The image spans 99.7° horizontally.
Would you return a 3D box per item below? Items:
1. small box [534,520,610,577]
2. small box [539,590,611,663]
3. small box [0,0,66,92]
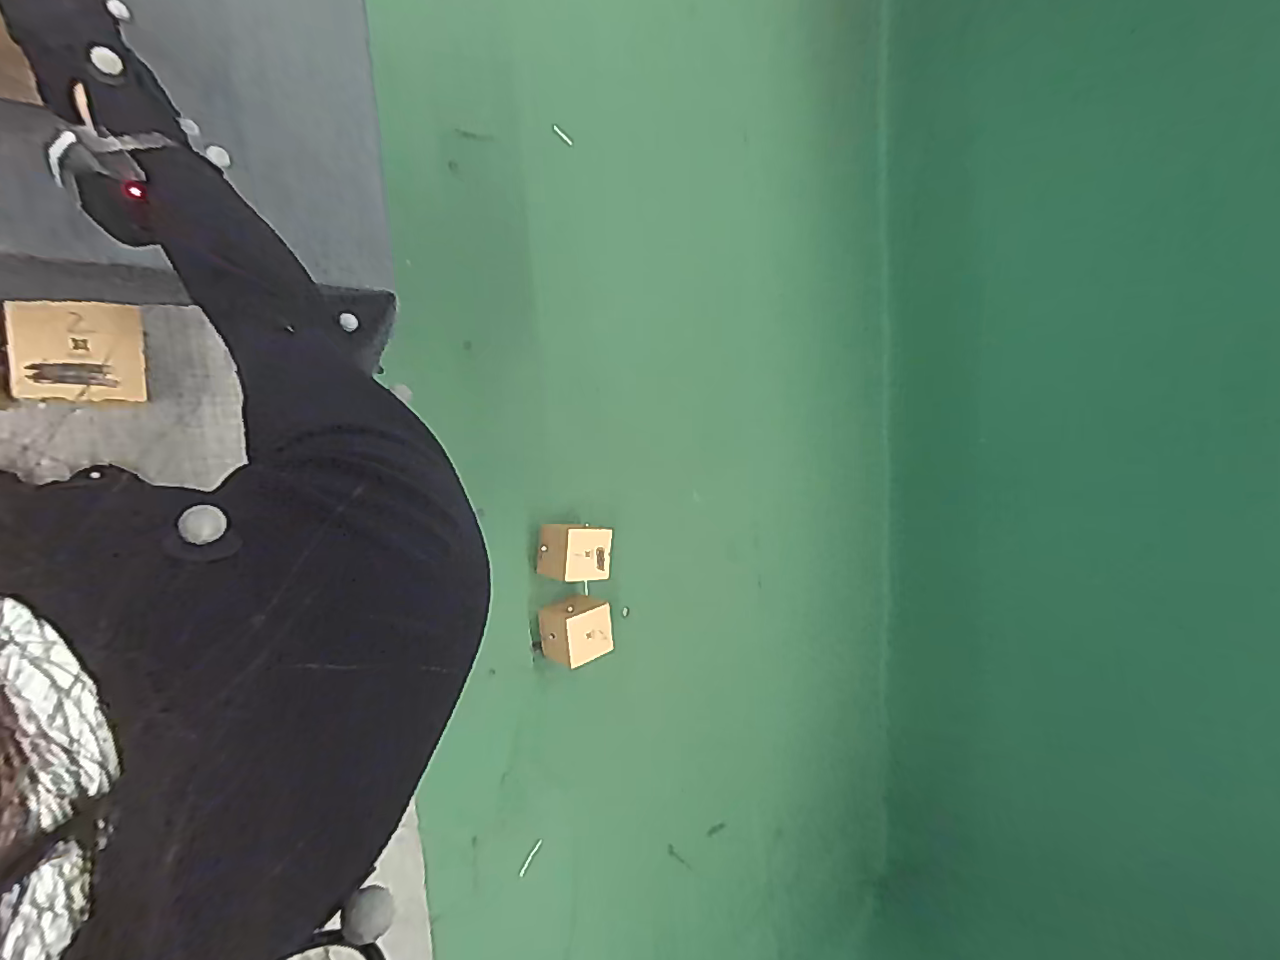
[{"bbox_3d":[-0.222,0.219,1.770,0.179,0.176,0.168,5,89,-42],"label":"small box"},{"bbox_3d":[-0.220,0.477,1.788,0.179,0.176,0.168,-12,102,-43],"label":"small box"},{"bbox_3d":[-0.559,-0.427,0.390,0.168,0.176,0.179,-12,103,-39],"label":"small box"}]
